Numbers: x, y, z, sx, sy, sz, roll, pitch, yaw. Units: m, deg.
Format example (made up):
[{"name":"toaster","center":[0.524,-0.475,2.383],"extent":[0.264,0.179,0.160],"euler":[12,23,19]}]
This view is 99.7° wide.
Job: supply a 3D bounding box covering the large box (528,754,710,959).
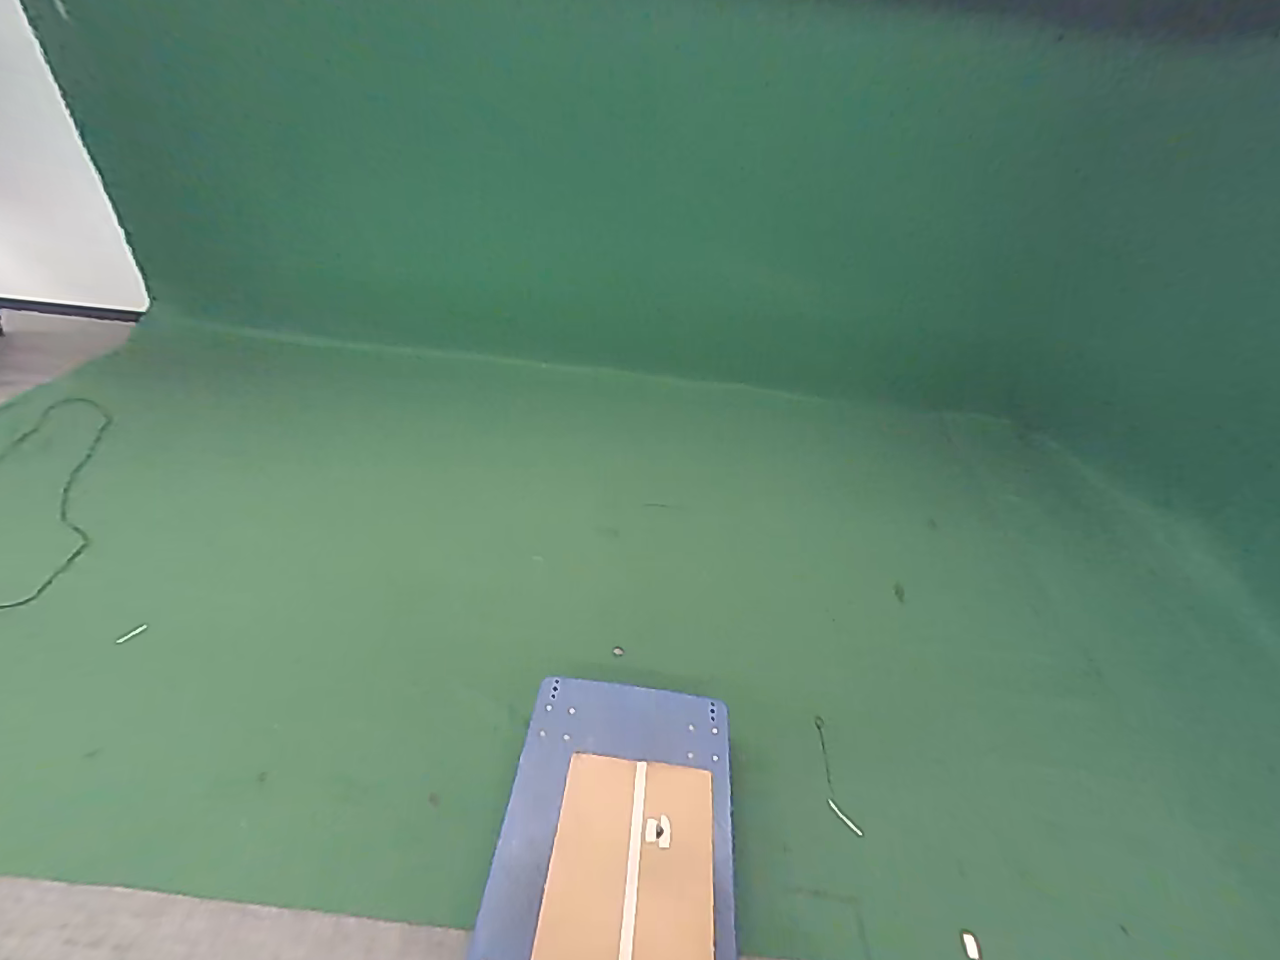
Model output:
[{"name":"large box","center":[-0.038,0.858,1.119],"extent":[0.320,0.320,0.408],"euler":[8,35,0]}]
